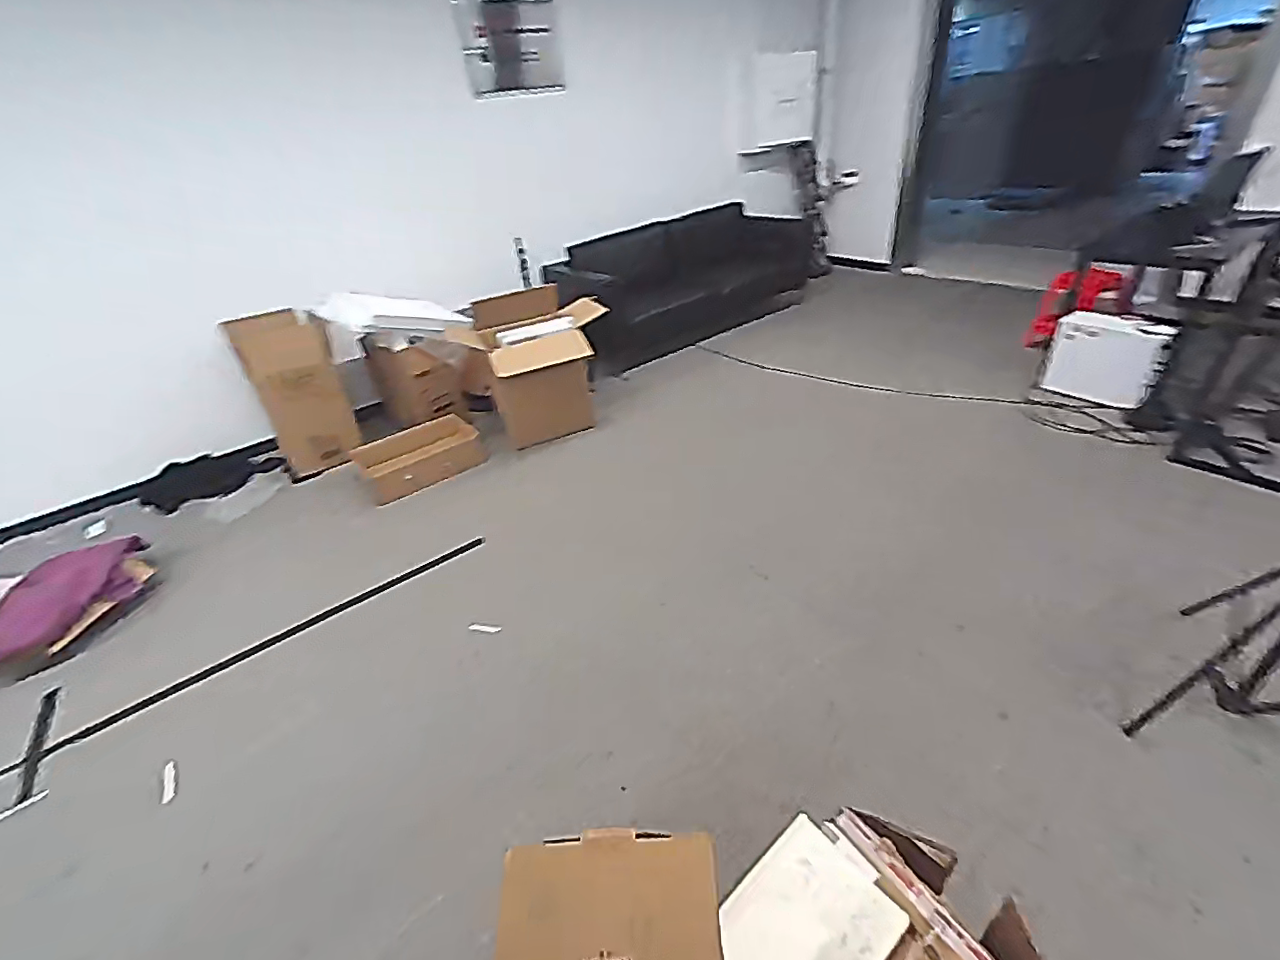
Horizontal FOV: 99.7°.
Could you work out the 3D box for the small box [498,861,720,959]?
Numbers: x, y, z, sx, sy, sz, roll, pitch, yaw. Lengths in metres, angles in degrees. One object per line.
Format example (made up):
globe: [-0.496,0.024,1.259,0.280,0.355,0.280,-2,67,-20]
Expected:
small box: [-0.018,0.428,0.428,0.168,0.176,0.179,-5,45,1]
